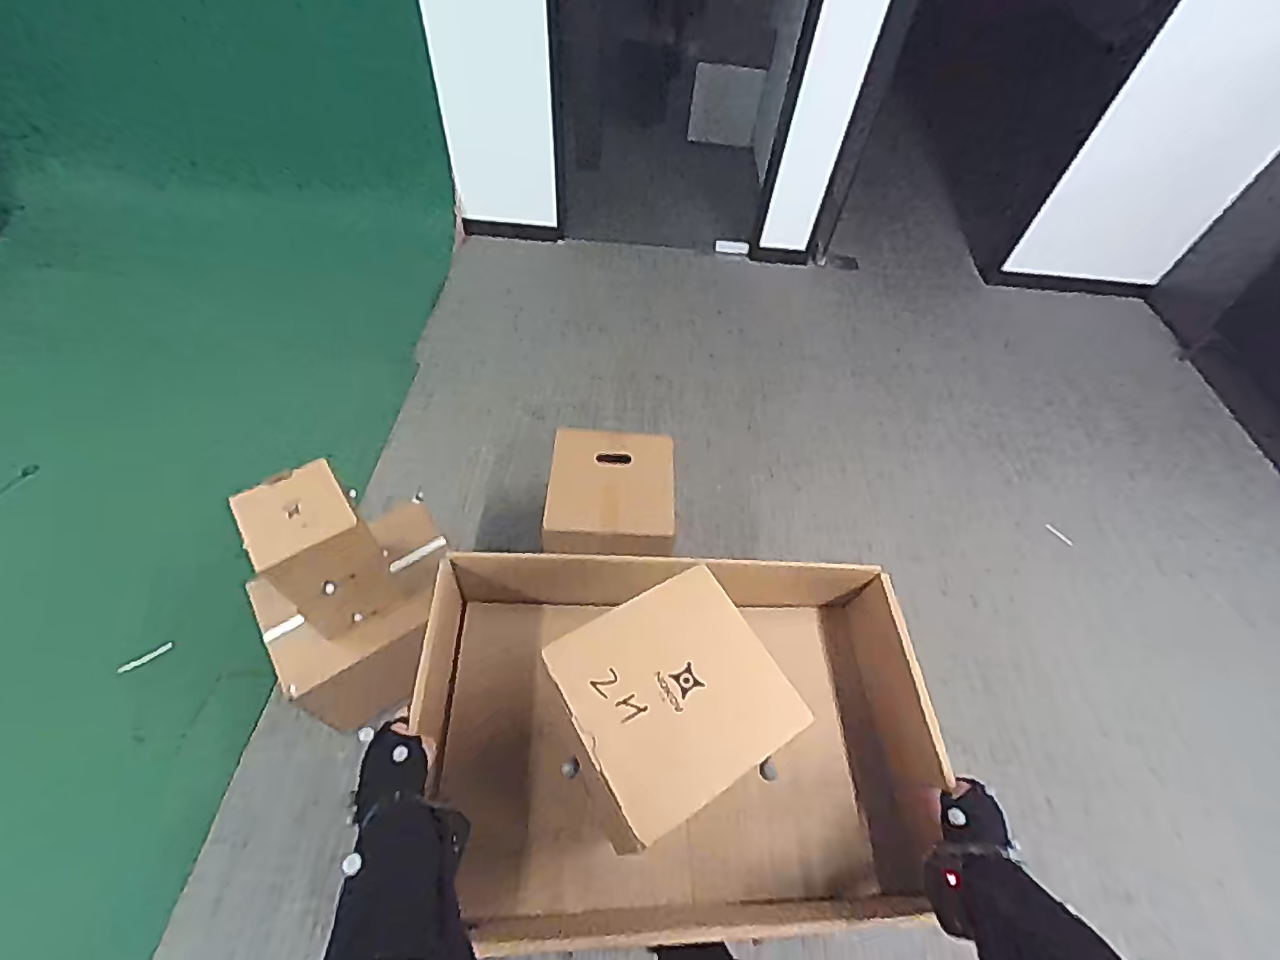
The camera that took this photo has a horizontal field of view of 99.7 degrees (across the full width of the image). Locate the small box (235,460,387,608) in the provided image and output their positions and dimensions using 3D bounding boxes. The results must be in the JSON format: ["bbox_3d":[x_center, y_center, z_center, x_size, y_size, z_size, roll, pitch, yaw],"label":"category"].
[{"bbox_3d":[-0.599,0.102,1.000,0.168,0.176,0.179,-29,61,-23],"label":"small box"}]

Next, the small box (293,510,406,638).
[{"bbox_3d":[-0.618,0.198,1.131,0.168,0.176,0.179,-26,60,-22],"label":"small box"}]

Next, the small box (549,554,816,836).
[{"bbox_3d":[0.024,0.205,0.515,0.179,0.176,0.168,-24,61,-23],"label":"small box"}]
